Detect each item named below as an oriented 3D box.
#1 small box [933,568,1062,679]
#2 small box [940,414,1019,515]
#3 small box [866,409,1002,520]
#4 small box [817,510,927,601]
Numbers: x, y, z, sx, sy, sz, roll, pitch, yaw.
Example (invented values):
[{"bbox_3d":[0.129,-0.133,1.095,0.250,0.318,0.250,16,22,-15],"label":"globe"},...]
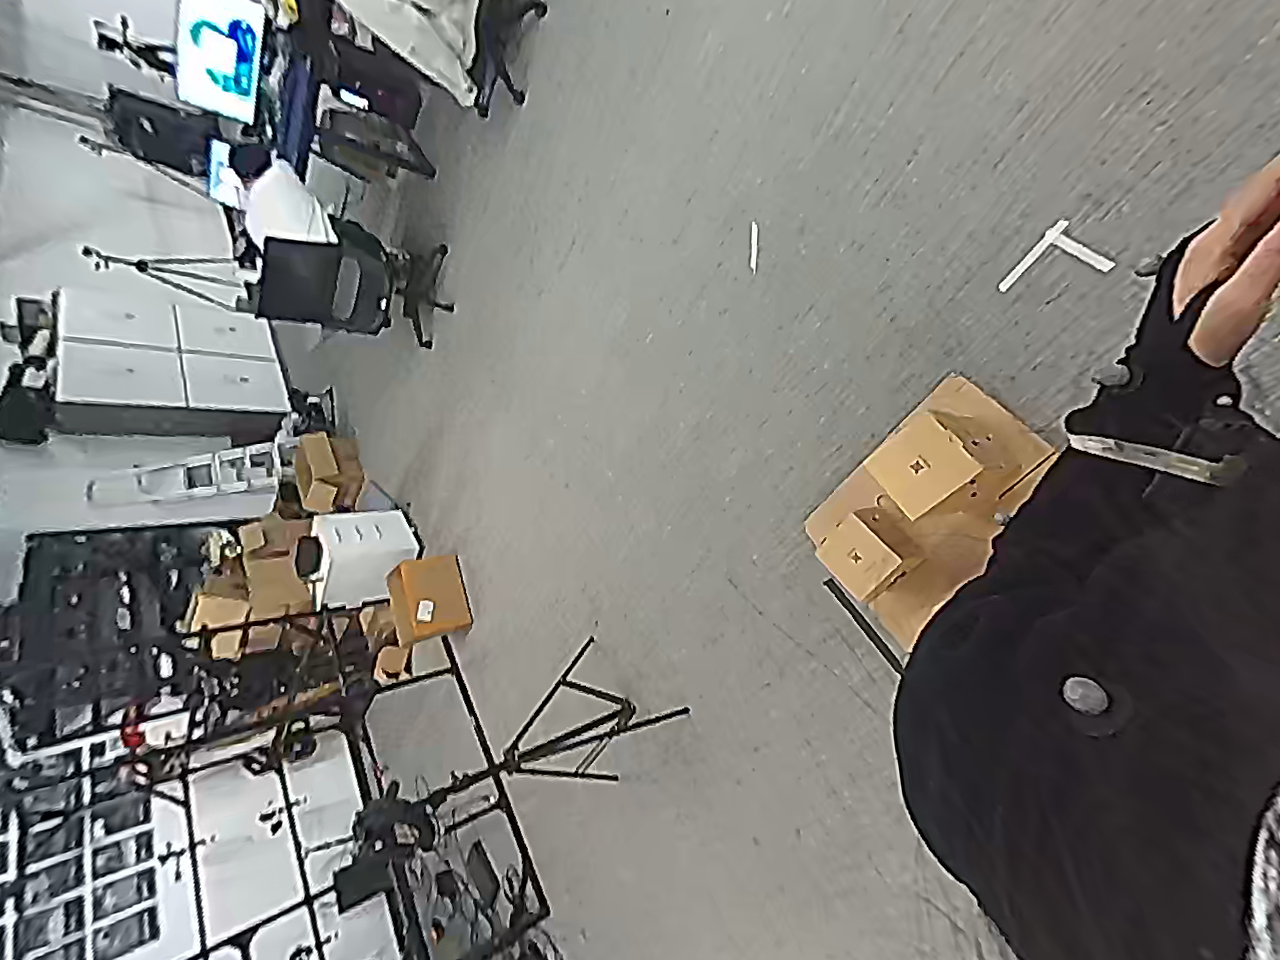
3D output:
[{"bbox_3d":[0.821,0.322,1.237,0.168,0.176,0.179,-45,63,37],"label":"small box"},{"bbox_3d":[0.756,-0.035,1.288,0.179,0.176,0.168,-54,57,32],"label":"small box"},{"bbox_3d":[0.640,-0.032,1.174,0.179,0.176,0.168,-50,58,33],"label":"small box"},{"bbox_3d":[0.618,0.193,1.443,0.179,0.176,0.168,51,127,31],"label":"small box"}]
